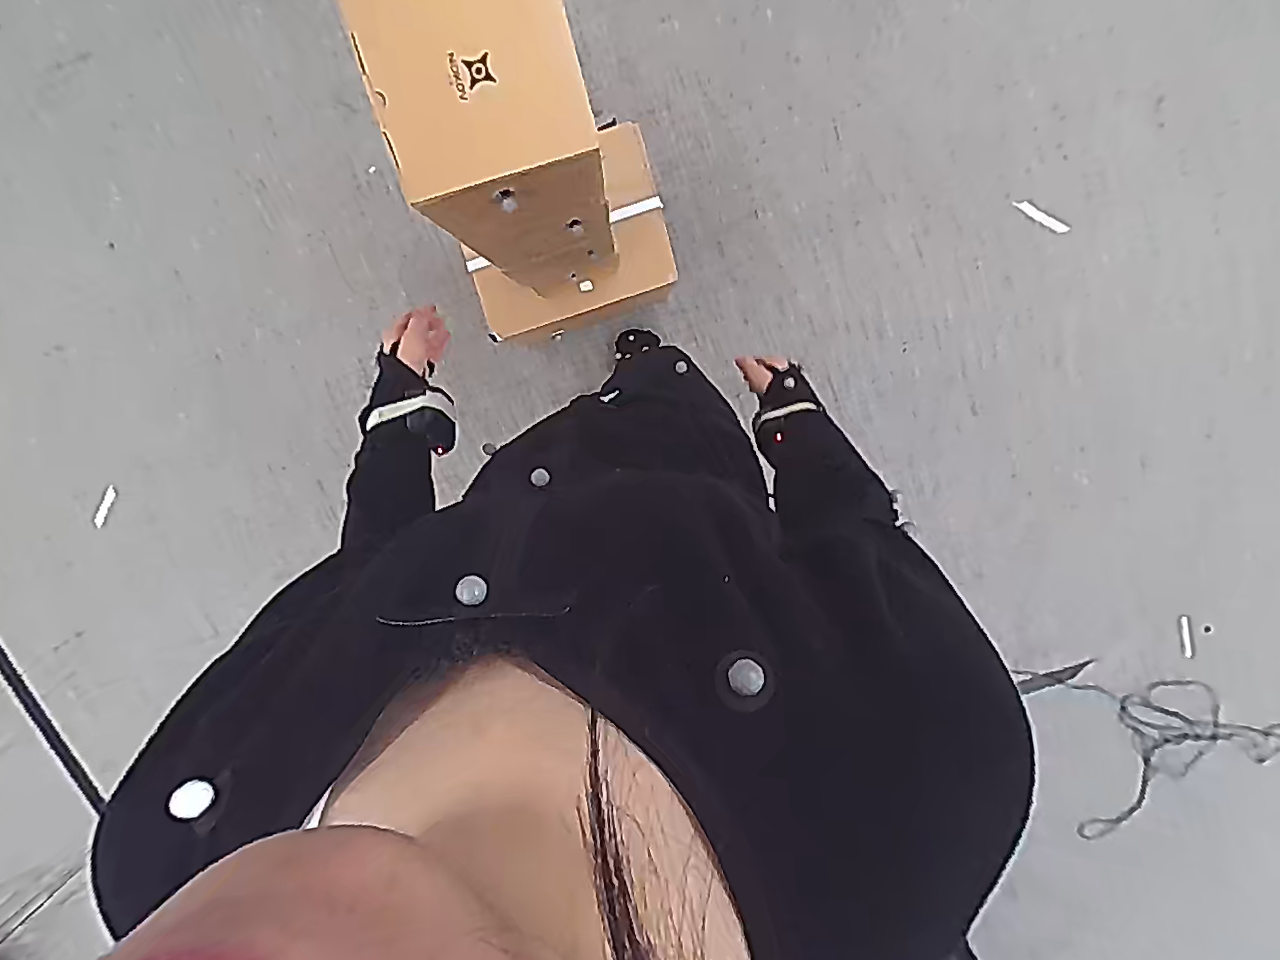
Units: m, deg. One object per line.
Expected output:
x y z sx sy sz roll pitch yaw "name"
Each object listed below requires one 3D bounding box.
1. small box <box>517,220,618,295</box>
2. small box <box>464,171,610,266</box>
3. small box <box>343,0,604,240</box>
-0.147 -0.458 1.008 0.179 0.176 0.168 -20 103 2 "small box"
-0.142 -0.388 0.686 0.179 0.176 0.168 -16 102 2 "small box"
-0.139 -0.354 0.528 0.179 0.176 0.168 -15 103 3 "small box"
